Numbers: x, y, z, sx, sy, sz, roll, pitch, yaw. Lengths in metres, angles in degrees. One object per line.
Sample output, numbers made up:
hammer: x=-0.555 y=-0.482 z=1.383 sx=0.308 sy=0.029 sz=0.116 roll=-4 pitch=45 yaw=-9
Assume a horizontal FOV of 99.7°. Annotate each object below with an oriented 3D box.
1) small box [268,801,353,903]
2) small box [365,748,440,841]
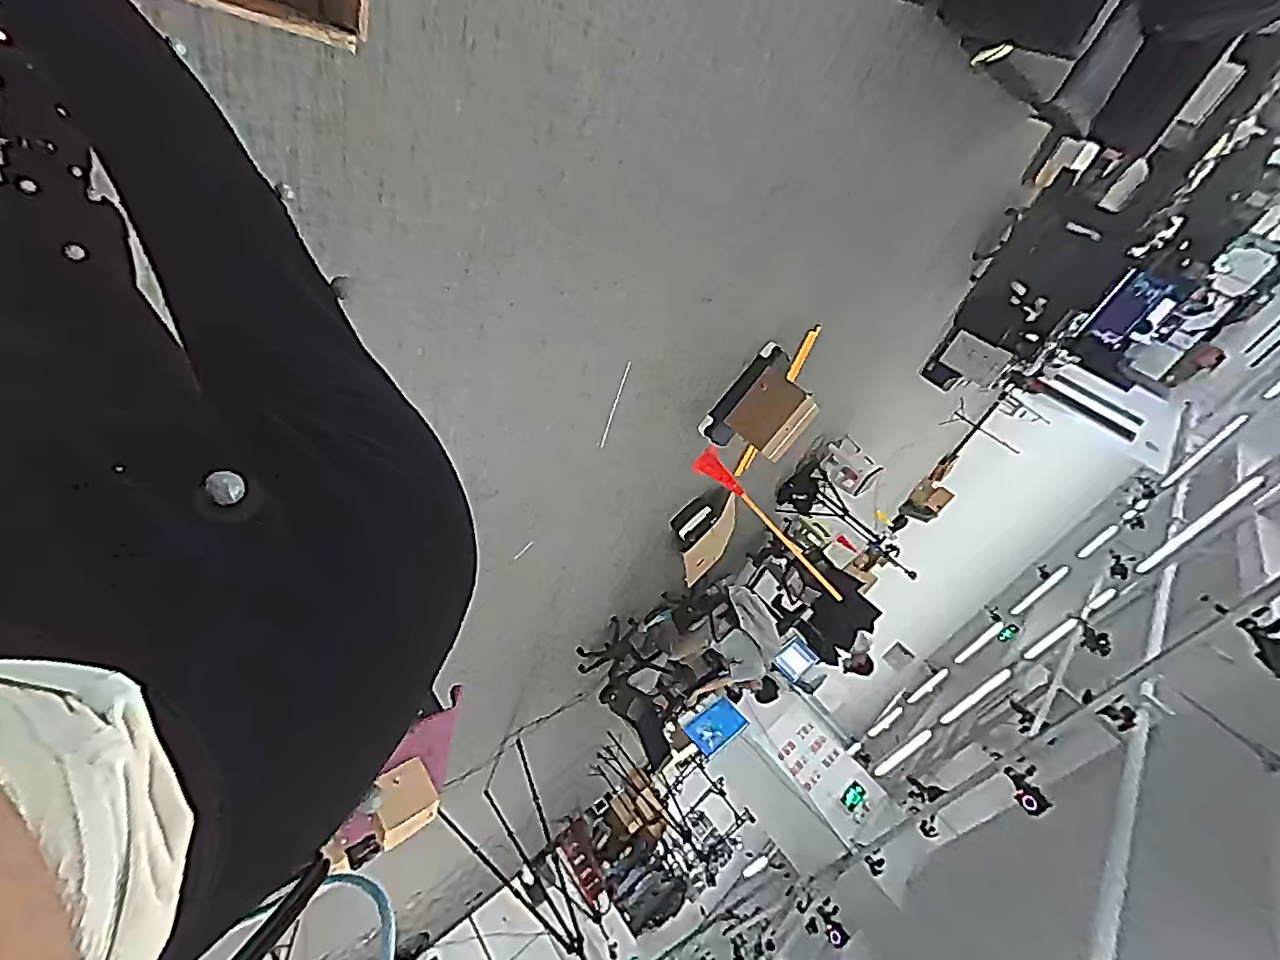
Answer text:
small box: x=-0.974 y=1.092 z=1.600 sx=0.168 sy=0.176 sz=0.179 roll=-21 pitch=145 yaw=-39
small box: x=-0.786 y=1.030 z=1.779 sx=0.179 sy=0.176 sz=0.168 roll=-16 pitch=142 yaw=-43
